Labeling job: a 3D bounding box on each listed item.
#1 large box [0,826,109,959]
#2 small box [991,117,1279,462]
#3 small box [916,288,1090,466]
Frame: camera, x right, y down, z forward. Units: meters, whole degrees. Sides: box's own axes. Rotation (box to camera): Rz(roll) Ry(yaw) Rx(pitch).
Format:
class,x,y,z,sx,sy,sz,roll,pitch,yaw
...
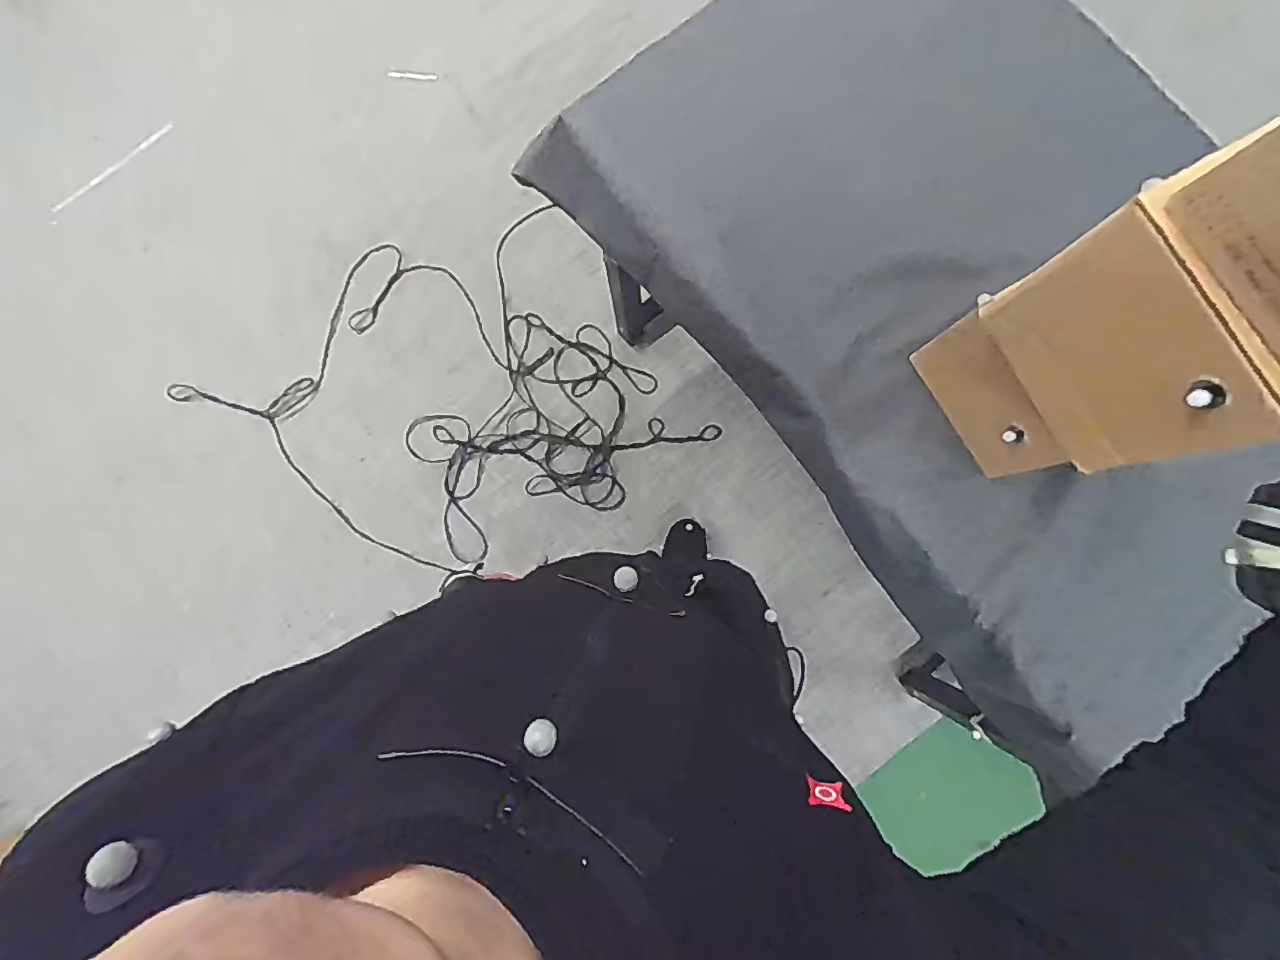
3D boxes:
class,x,y,z,sx,sy,sz,roll,pitch,yaw
large box,-1.511,1.081,1.166,0.320,0.320,0.408,-39,83,-3
small box,0.424,-0.132,0.414,0.168,0.176,0.179,-29,85,-3
small box,0.443,-0.127,0.577,0.168,0.176,0.179,-30,83,-3
